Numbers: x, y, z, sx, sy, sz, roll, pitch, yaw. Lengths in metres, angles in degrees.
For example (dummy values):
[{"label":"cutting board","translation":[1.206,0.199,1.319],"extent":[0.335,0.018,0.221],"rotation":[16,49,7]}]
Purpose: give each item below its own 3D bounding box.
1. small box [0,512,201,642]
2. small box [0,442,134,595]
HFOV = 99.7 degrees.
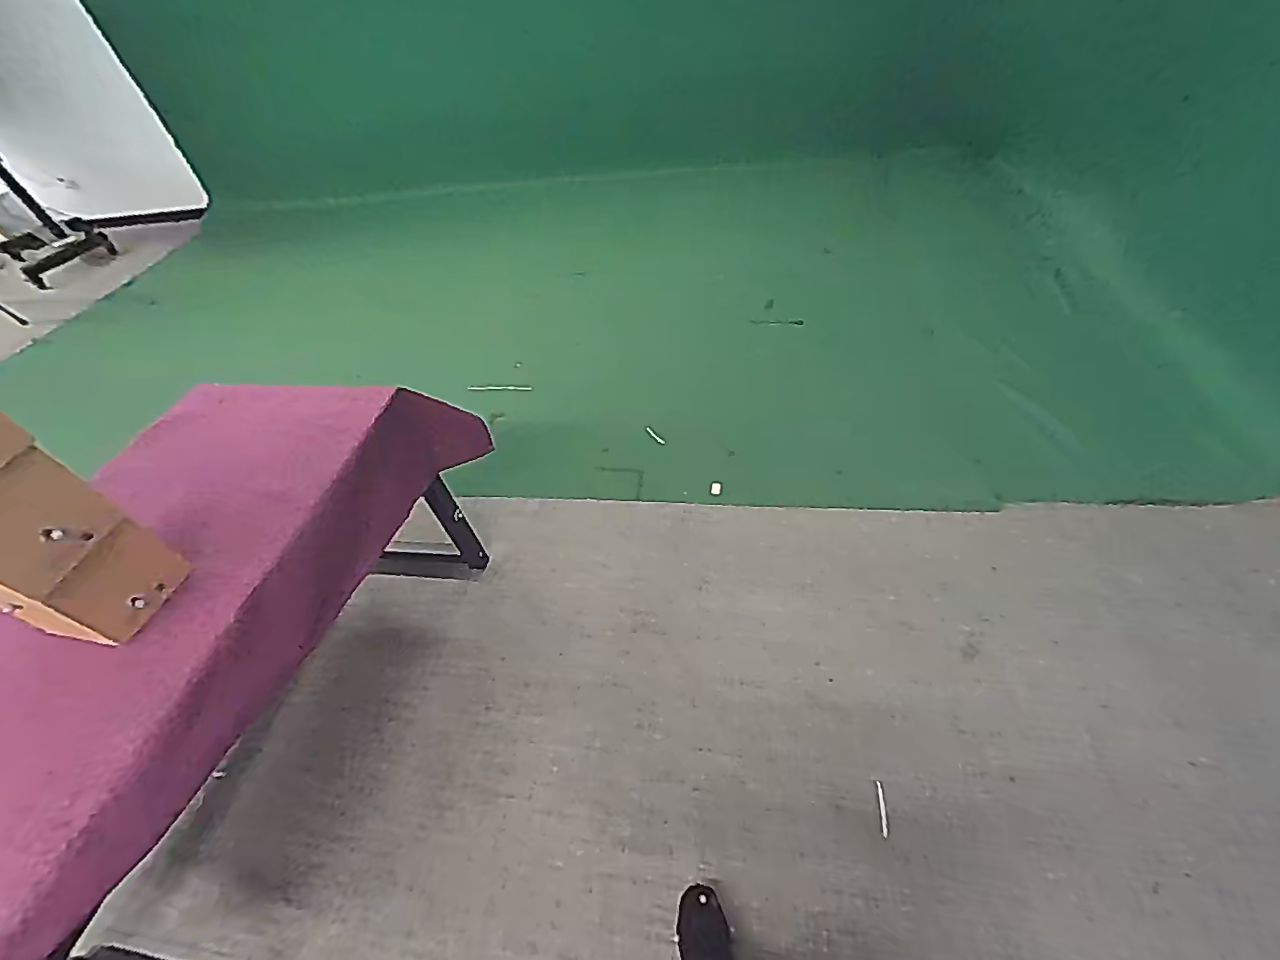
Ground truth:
[{"label":"small box","translation":[-0.927,0.159,0.926],"extent":[0.179,0.176,0.168],"rotation":[6,50,14]},{"label":"small box","translation":[-0.934,0.055,0.799],"extent":[0.179,0.176,0.168],"rotation":[4,50,13]}]
